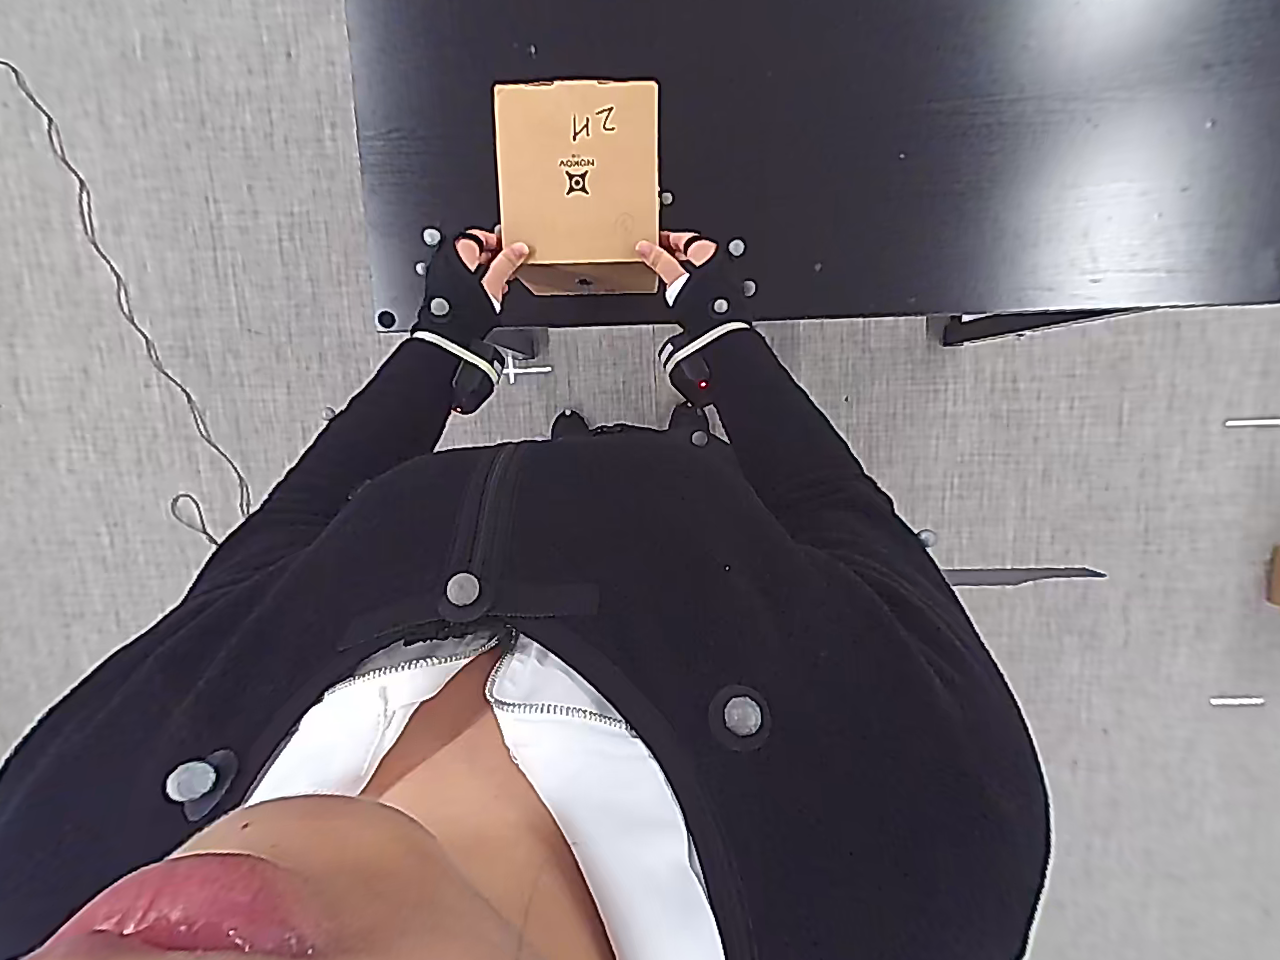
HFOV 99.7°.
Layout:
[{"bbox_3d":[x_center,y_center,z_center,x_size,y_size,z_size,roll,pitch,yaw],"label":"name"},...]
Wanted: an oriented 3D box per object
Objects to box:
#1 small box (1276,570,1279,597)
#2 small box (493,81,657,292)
[{"bbox_3d":[1.830,0.264,1.402,0.168,0.176,0.179,-2,97,1],"label":"small box"},{"bbox_3d":[-0.064,-0.323,0.634,0.168,0.176,0.179,-1,97,1],"label":"small box"}]
